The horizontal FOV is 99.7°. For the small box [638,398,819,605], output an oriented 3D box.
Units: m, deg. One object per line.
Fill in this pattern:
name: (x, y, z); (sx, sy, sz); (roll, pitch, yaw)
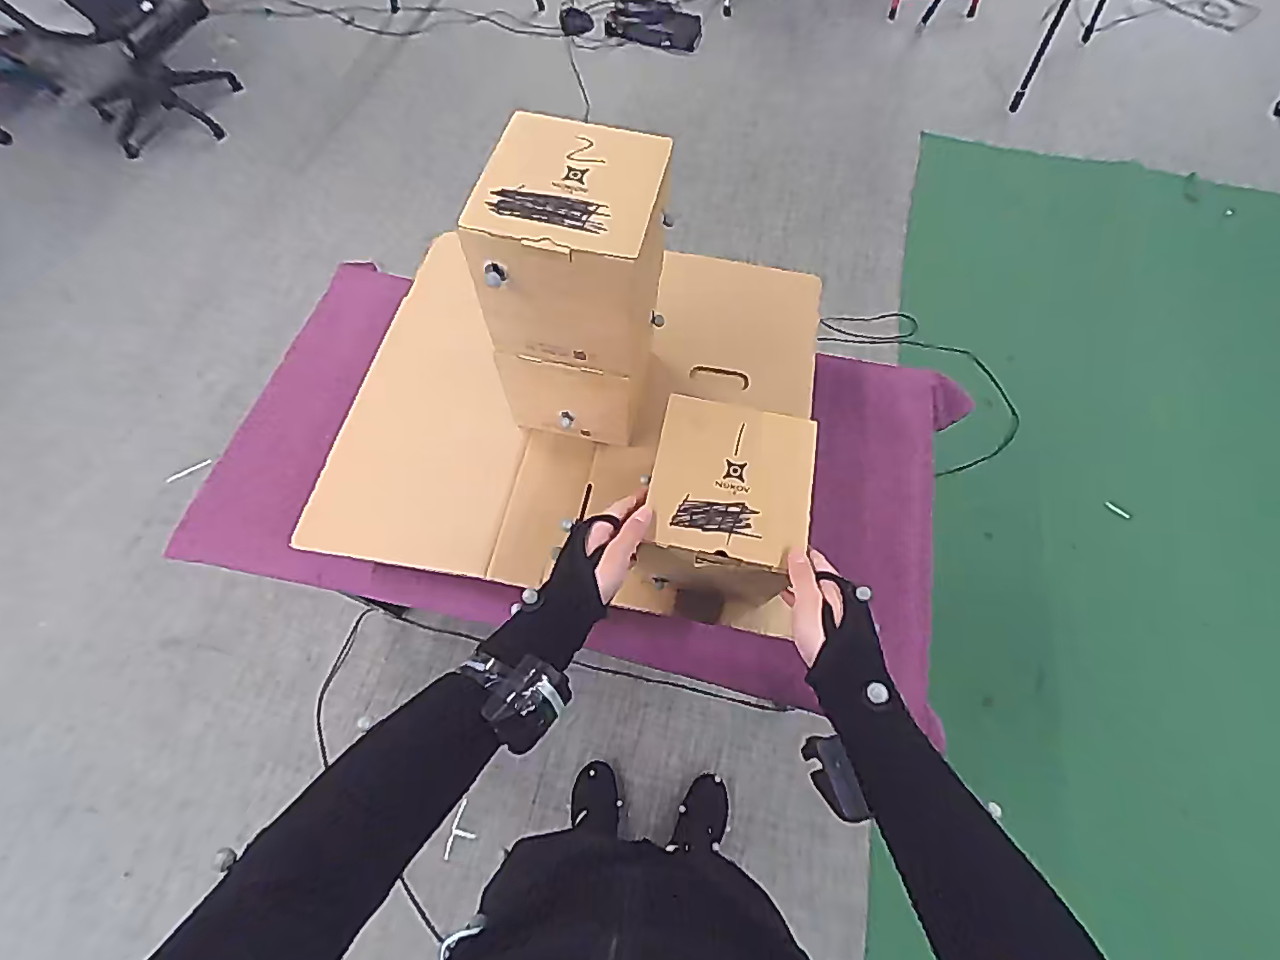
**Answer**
small box: (0.094, 0.035, 0.628); (0.168, 0.176, 0.179); (12, 66, 3)

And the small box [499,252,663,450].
small box: (-0.071, -0.166, 0.726); (0.168, 0.176, 0.179); (12, 66, 3)
